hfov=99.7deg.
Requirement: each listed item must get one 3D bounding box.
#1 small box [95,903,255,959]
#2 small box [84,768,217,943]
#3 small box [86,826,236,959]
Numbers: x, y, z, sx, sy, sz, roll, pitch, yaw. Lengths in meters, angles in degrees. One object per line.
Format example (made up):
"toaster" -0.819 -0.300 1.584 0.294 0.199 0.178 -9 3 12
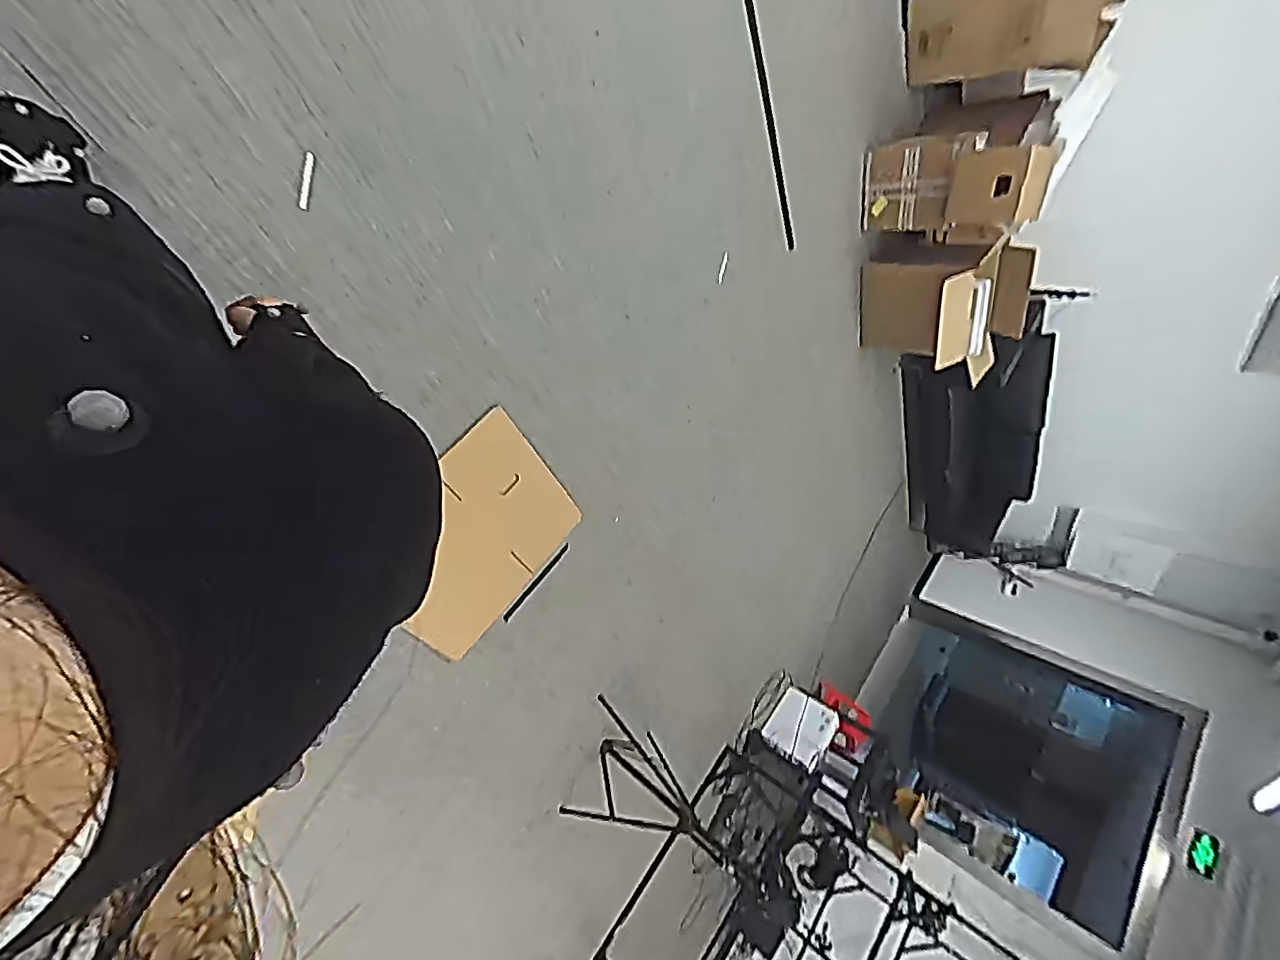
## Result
"small box" -0.686 0.775 0.790 0.168 0.176 0.179 3 104 -48
"small box" -0.914 0.686 1.008 0.168 0.176 0.179 4 103 -48
"small box" -0.799 0.733 0.900 0.168 0.176 0.179 4 104 -48
